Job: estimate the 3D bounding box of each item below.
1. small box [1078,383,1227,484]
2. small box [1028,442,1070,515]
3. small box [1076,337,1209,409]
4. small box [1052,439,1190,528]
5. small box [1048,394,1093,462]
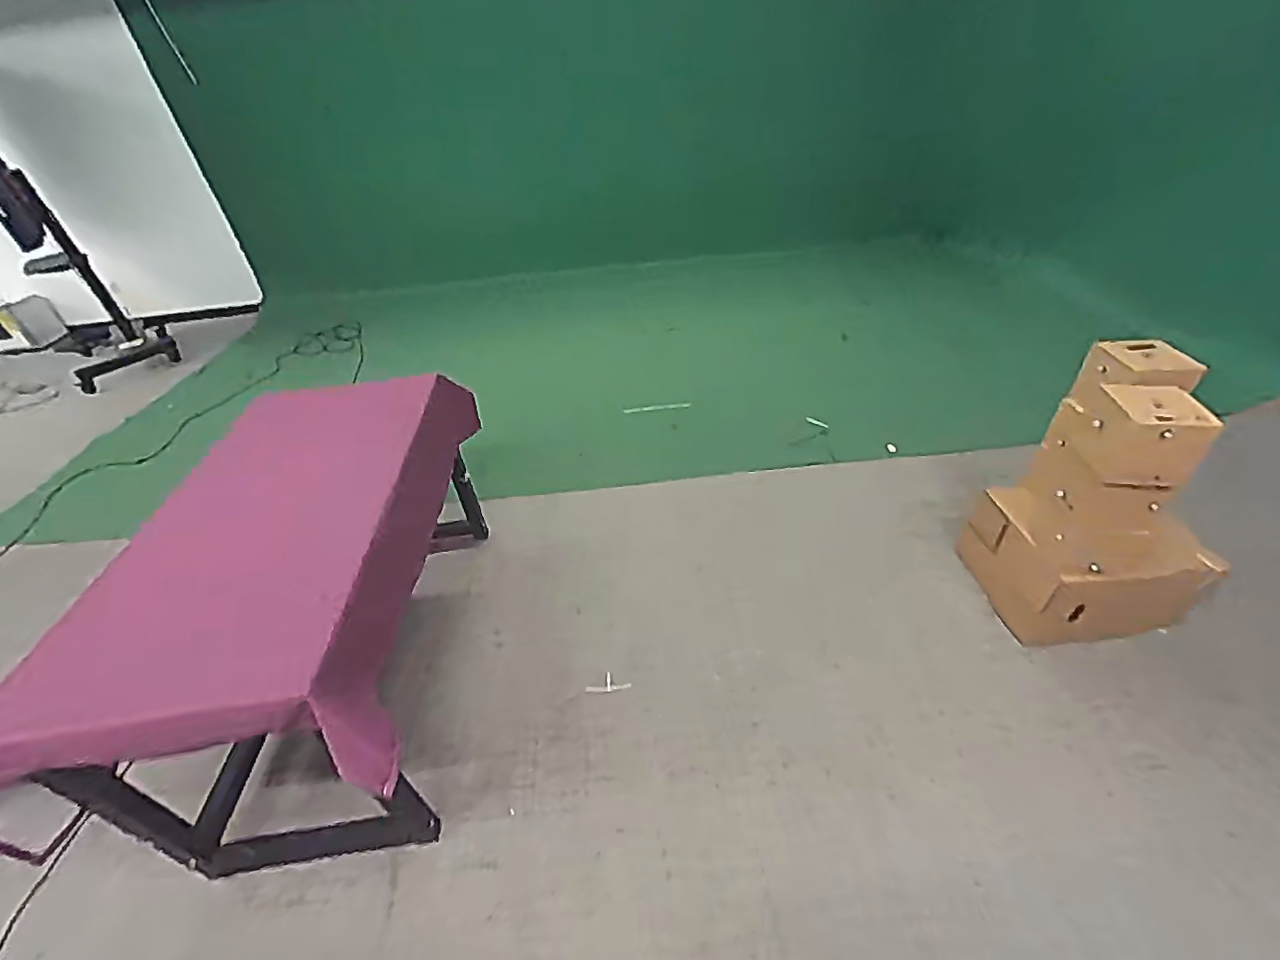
[{"bbox_3d":[1.176,-0.111,1.262,0.168,0.176,0.179,3,38,11],"label":"small box"},{"bbox_3d":[1.338,-0.006,1.643,0.168,0.176,0.179,-5,38,-1],"label":"small box"},{"bbox_3d":[1.324,-0.266,1.444,0.168,0.176,0.179,-2,38,5],"label":"small box"},{"bbox_3d":[1.206,0.009,1.373,0.179,0.176,0.168,0,39,7],"label":"small box"},{"bbox_3d":[1.326,-0.136,1.546,0.179,0.176,0.168,-5,38,1],"label":"small box"}]
